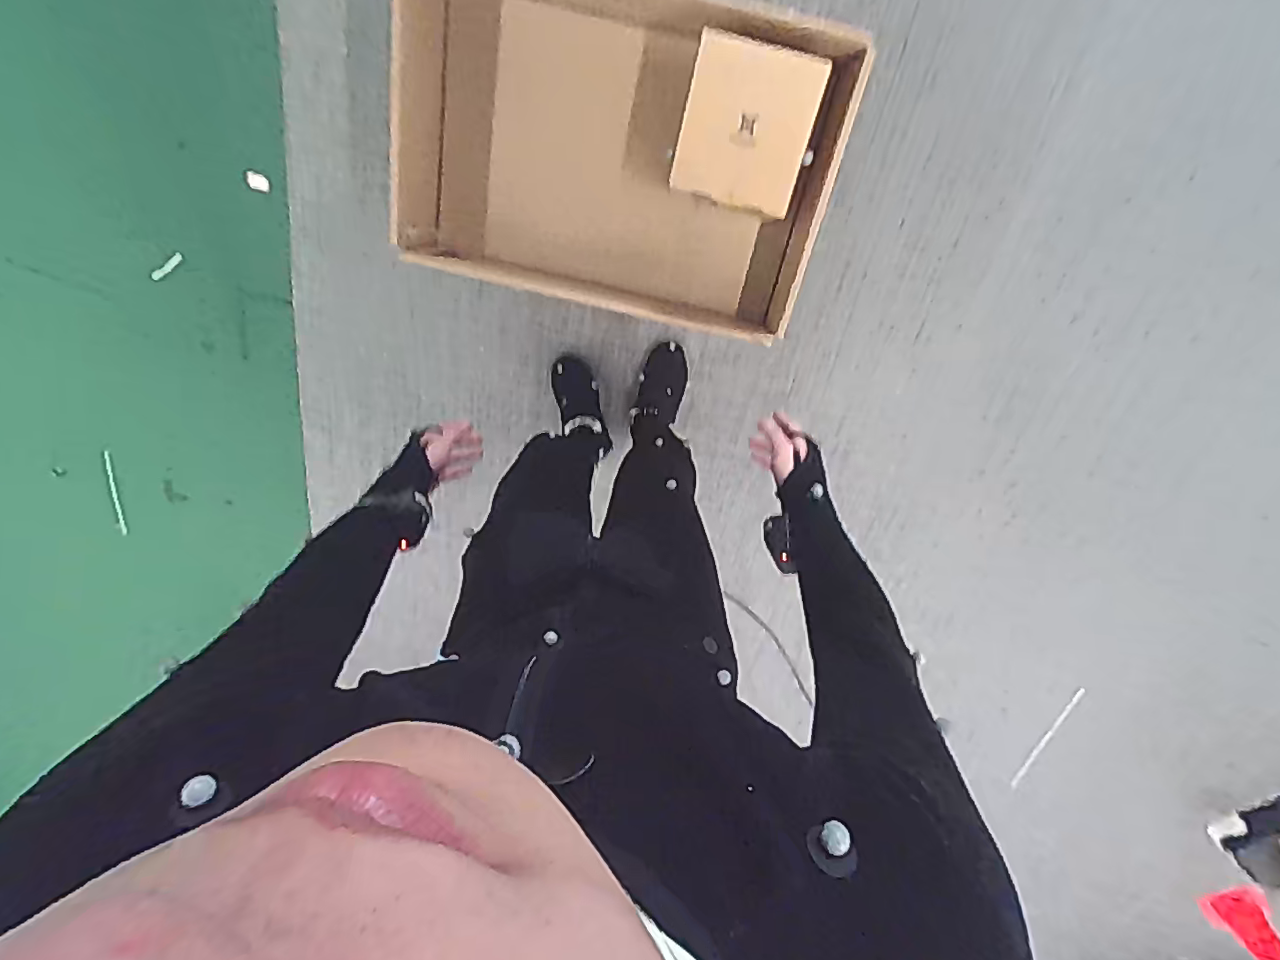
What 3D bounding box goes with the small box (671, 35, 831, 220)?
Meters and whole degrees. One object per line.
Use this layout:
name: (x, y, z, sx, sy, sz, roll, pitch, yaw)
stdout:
small box: (0.144, -0.483, 0.770, 0.168, 0.176, 0.179, 14, 116, -2)
